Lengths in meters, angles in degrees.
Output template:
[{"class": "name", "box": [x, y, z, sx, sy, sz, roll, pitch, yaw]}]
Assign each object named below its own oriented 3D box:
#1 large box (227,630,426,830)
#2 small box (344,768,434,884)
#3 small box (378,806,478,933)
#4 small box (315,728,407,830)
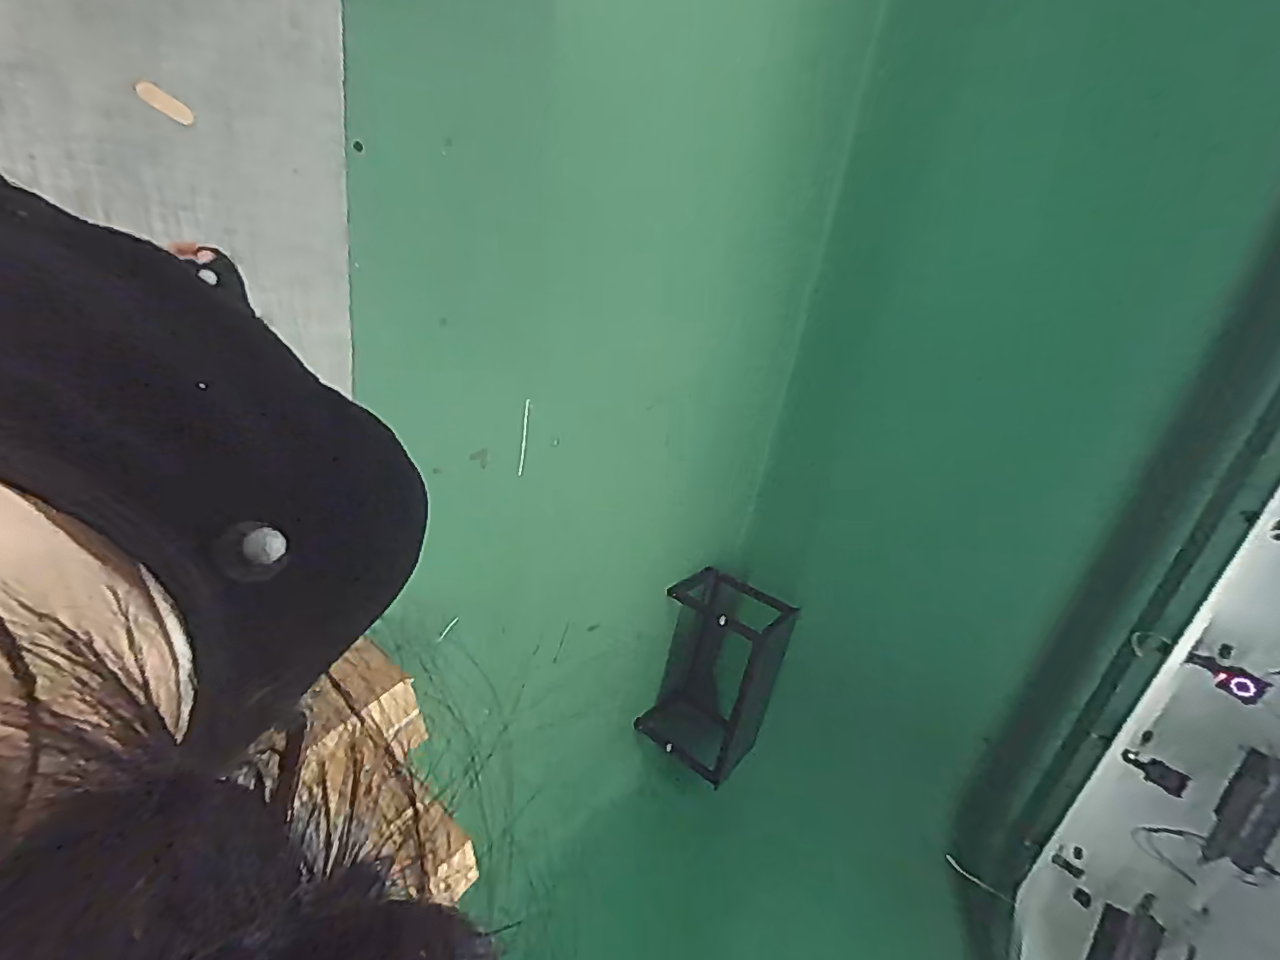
[{"class": "large box", "box": [-0.962, 0.760, 1.696, 0.408, 0.320, 0.320, -34, 137, -42]}, {"class": "small box", "box": [-0.669, 0.919, 1.457, 0.168, 0.176, 0.179, -28, 131, -45]}, {"class": "small box", "box": [-0.539, 0.975, 1.374, 0.168, 0.176, 0.179, -29, 130, -44]}, {"class": "small box", "box": [-0.789, 0.856, 1.549, 0.179, 0.176, 0.168, -29, 131, -43]}]
